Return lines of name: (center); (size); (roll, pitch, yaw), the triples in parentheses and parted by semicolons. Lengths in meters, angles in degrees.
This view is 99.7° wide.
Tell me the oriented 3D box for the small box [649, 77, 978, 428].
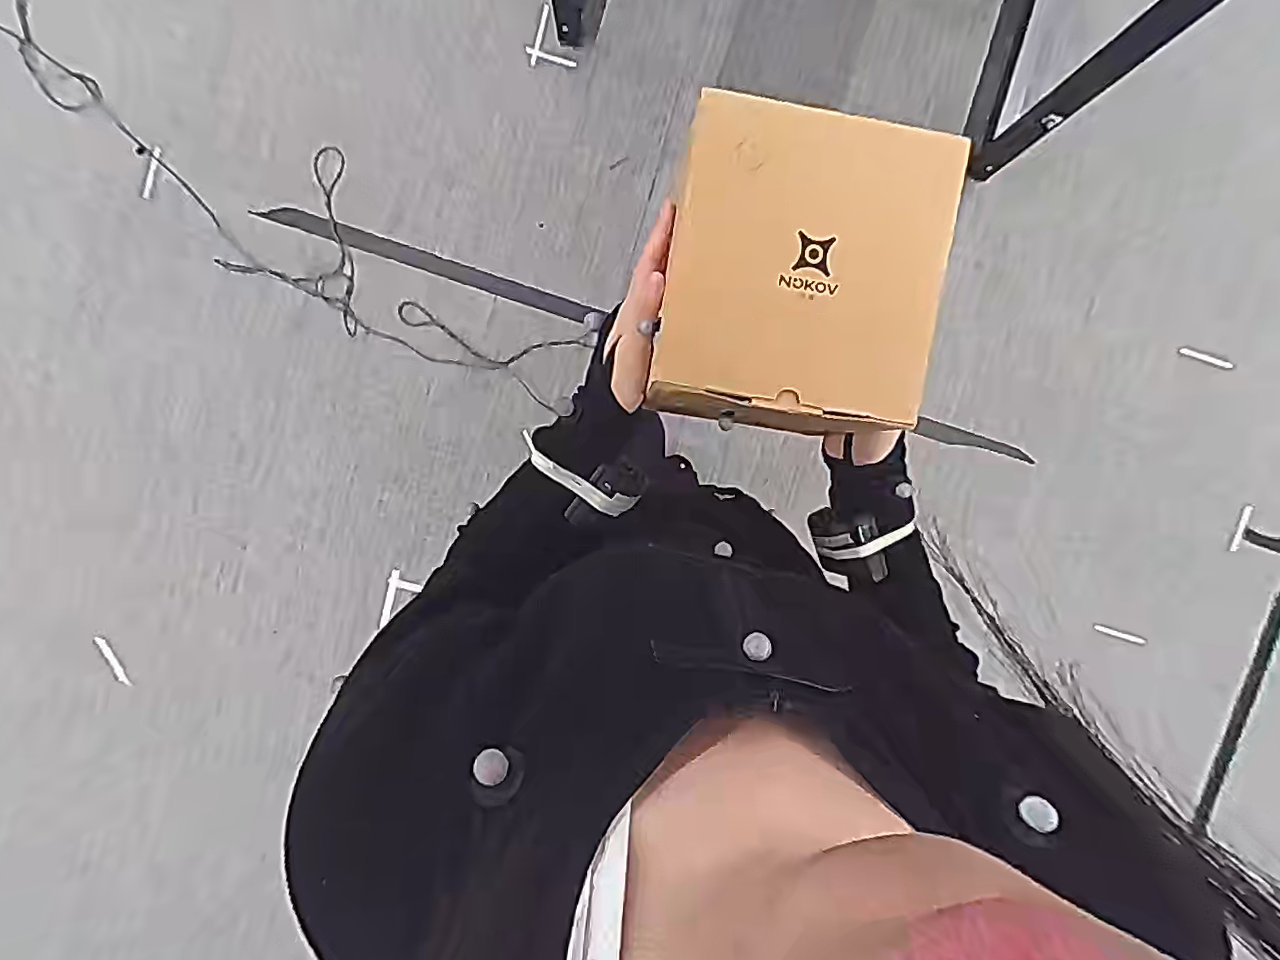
small box: (0.101, -0.137, 0.395); (0.168, 0.176, 0.179); (8, 94, -3)
